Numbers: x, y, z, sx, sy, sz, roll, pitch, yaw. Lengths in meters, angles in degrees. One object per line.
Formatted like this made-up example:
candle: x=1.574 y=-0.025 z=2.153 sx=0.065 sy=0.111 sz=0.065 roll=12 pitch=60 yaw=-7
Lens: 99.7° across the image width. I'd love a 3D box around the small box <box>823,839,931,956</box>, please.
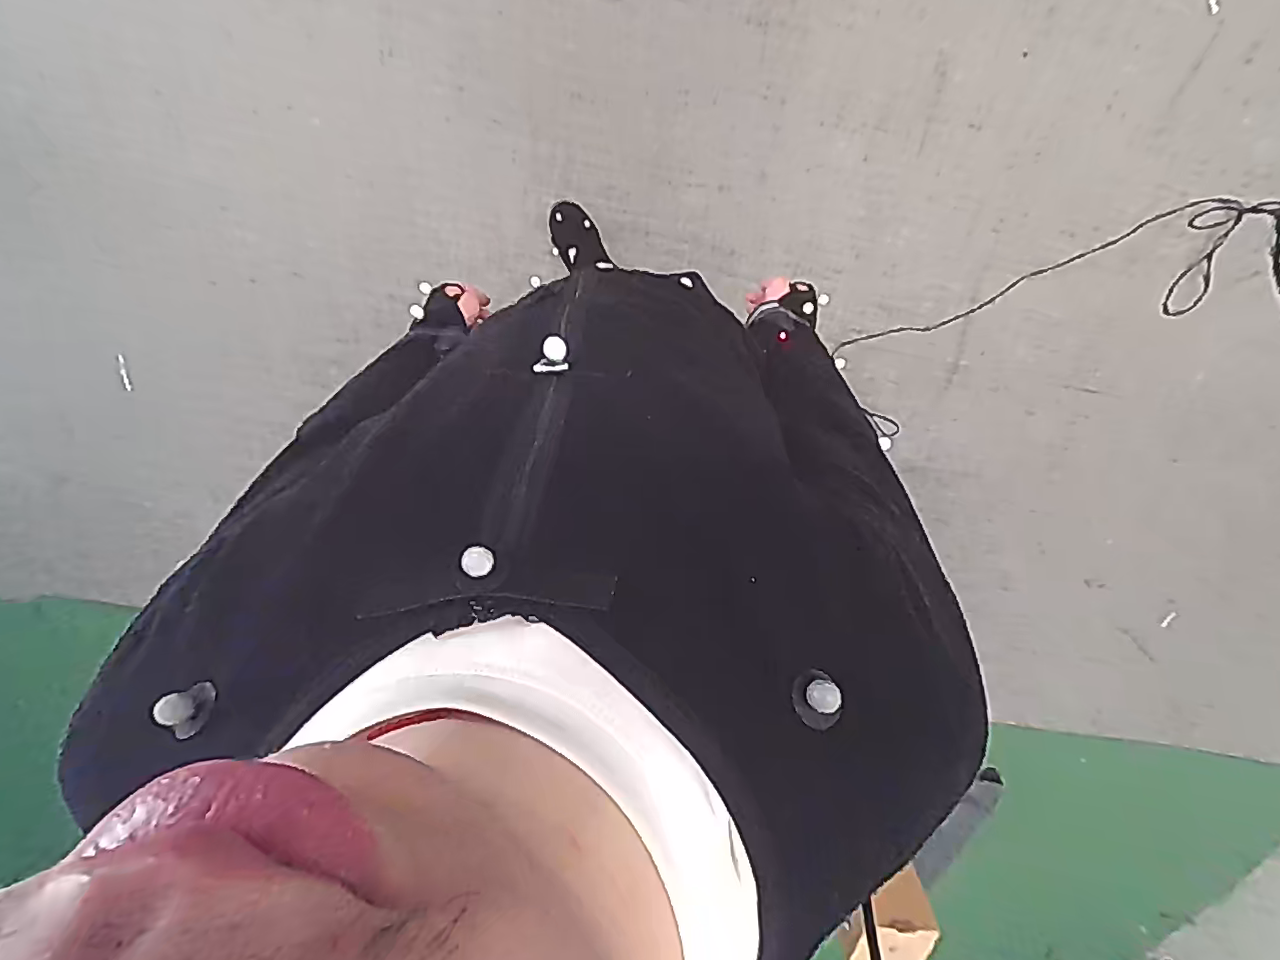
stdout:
small box: x=0.554 y=0.992 z=1.292 sx=0.168 sy=0.176 sz=0.179 roll=4 pitch=118 yaw=-1
